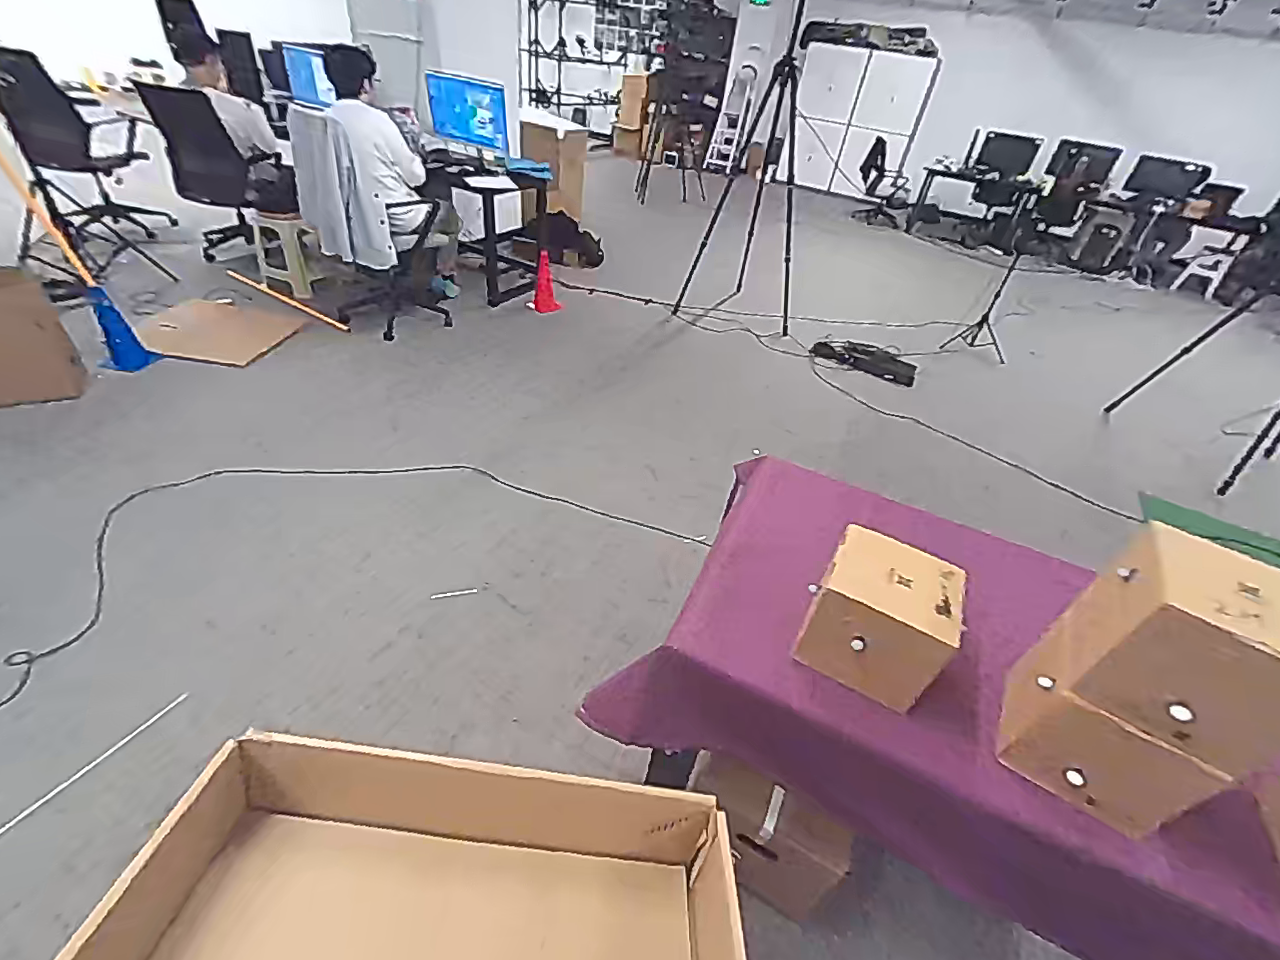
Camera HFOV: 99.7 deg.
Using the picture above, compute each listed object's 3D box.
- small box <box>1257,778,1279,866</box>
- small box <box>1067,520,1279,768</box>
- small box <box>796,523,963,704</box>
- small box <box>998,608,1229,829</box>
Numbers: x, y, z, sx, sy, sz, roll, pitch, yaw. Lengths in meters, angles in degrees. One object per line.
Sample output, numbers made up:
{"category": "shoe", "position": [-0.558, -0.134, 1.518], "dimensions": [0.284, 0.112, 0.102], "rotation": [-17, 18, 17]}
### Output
{"category": "small box", "position": [0.888, 0.442, 0.616], "dimensions": [0.168, 0.176, 0.179], "rotation": [24, 40, 19]}
{"category": "small box", "position": [0.639, 0.185, 0.630], "dimensions": [0.168, 0.176, 0.179], "rotation": [28, 43, 24]}
{"category": "small box", "position": [0.356, 0.202, 0.819], "dimensions": [0.179, 0.176, 0.168], "rotation": [24, 41, 19]}
{"category": "small box", "position": [0.616, 0.316, 0.728], "dimensions": [0.168, 0.176, 0.179], "rotation": [27, 43, 23]}
